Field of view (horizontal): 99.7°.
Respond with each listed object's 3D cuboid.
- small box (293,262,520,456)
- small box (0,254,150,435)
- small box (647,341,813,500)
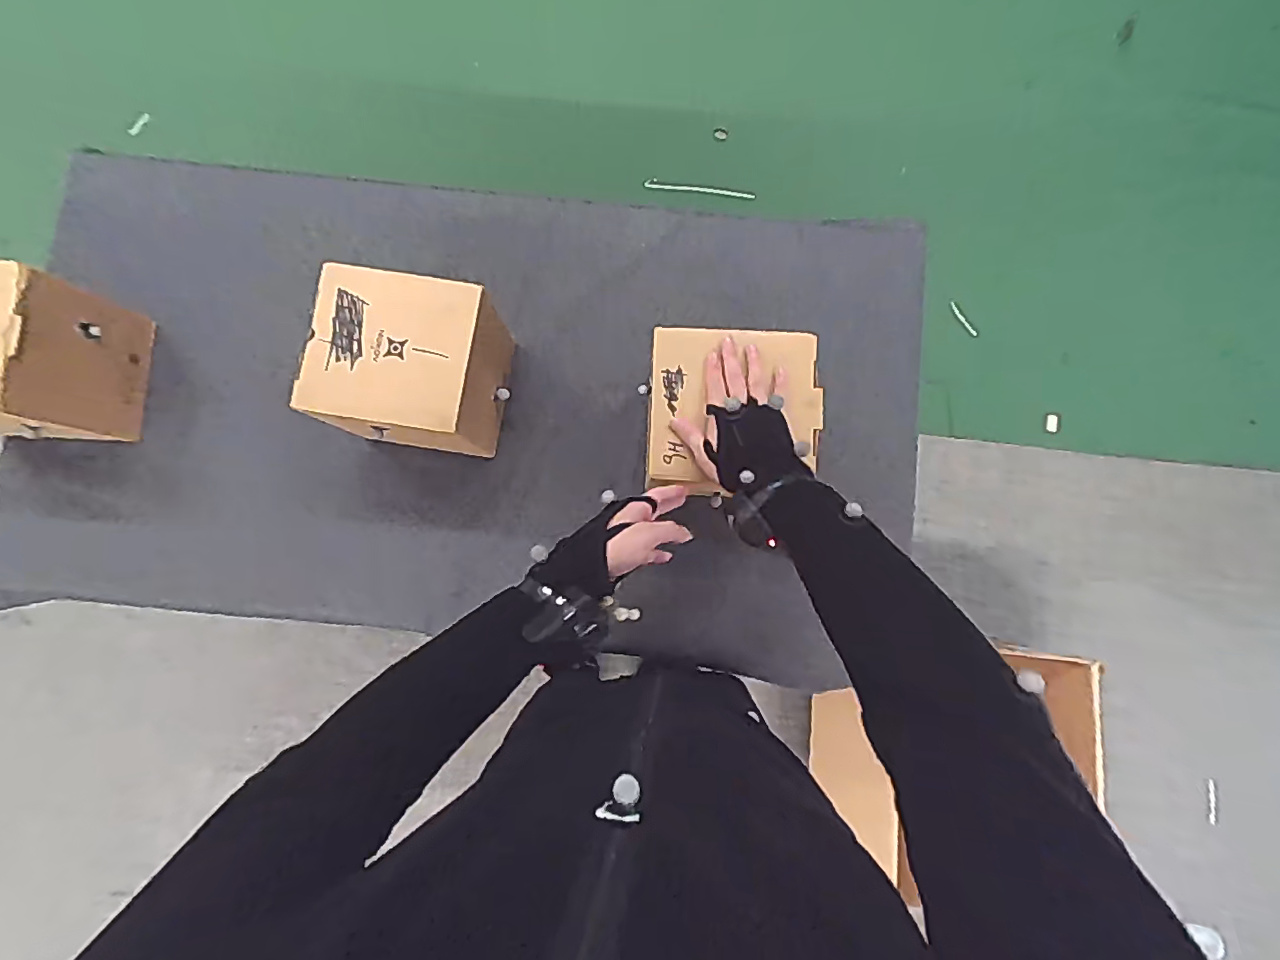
[{"bbox_3d":[-0.263,-0.132,0.651,0.179,0.176,0.168,12,85,2],"label":"small box"},{"bbox_3d":[-0.739,-0.151,0.636,0.179,0.176,0.168,2,83,1],"label":"small box"},{"bbox_3d":[0.099,-0.064,0.667,0.179,0.176,0.168,0,84,0],"label":"small box"}]
